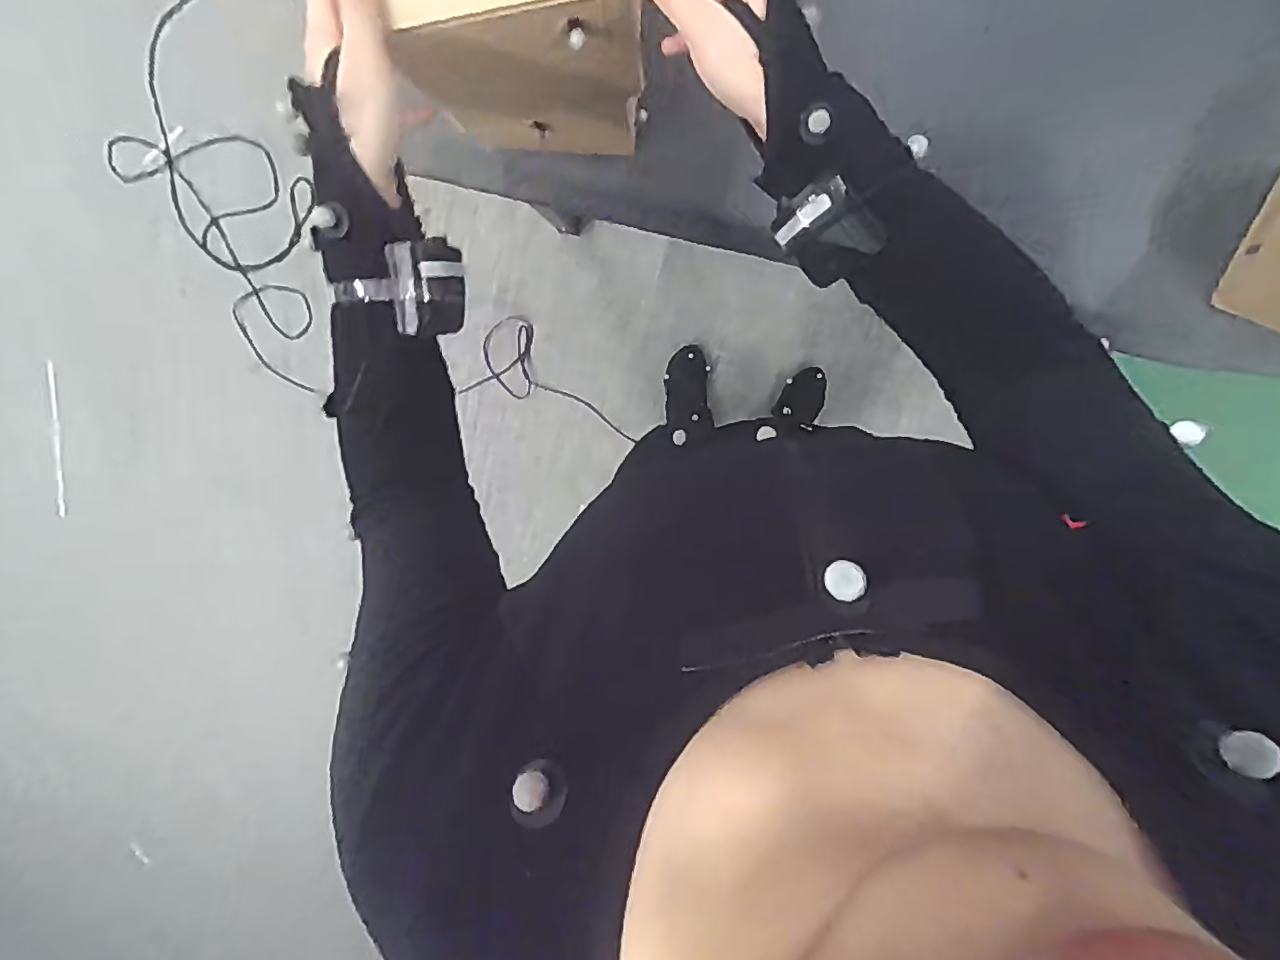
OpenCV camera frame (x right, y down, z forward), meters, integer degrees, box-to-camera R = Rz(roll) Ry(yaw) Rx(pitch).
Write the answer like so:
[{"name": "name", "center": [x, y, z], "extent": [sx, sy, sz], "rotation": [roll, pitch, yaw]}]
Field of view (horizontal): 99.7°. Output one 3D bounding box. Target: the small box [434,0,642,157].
[{"name": "small box", "center": [-0.090, -0.444, 0.547], "extent": [0.179, 0.176, 0.168], "rotation": [4, 106, 3]}]

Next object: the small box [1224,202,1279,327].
[{"name": "small box", "center": [0.782, -0.237, 0.548], "extent": [0.179, 0.176, 0.168], "rotation": [20, 101, -1]}]
